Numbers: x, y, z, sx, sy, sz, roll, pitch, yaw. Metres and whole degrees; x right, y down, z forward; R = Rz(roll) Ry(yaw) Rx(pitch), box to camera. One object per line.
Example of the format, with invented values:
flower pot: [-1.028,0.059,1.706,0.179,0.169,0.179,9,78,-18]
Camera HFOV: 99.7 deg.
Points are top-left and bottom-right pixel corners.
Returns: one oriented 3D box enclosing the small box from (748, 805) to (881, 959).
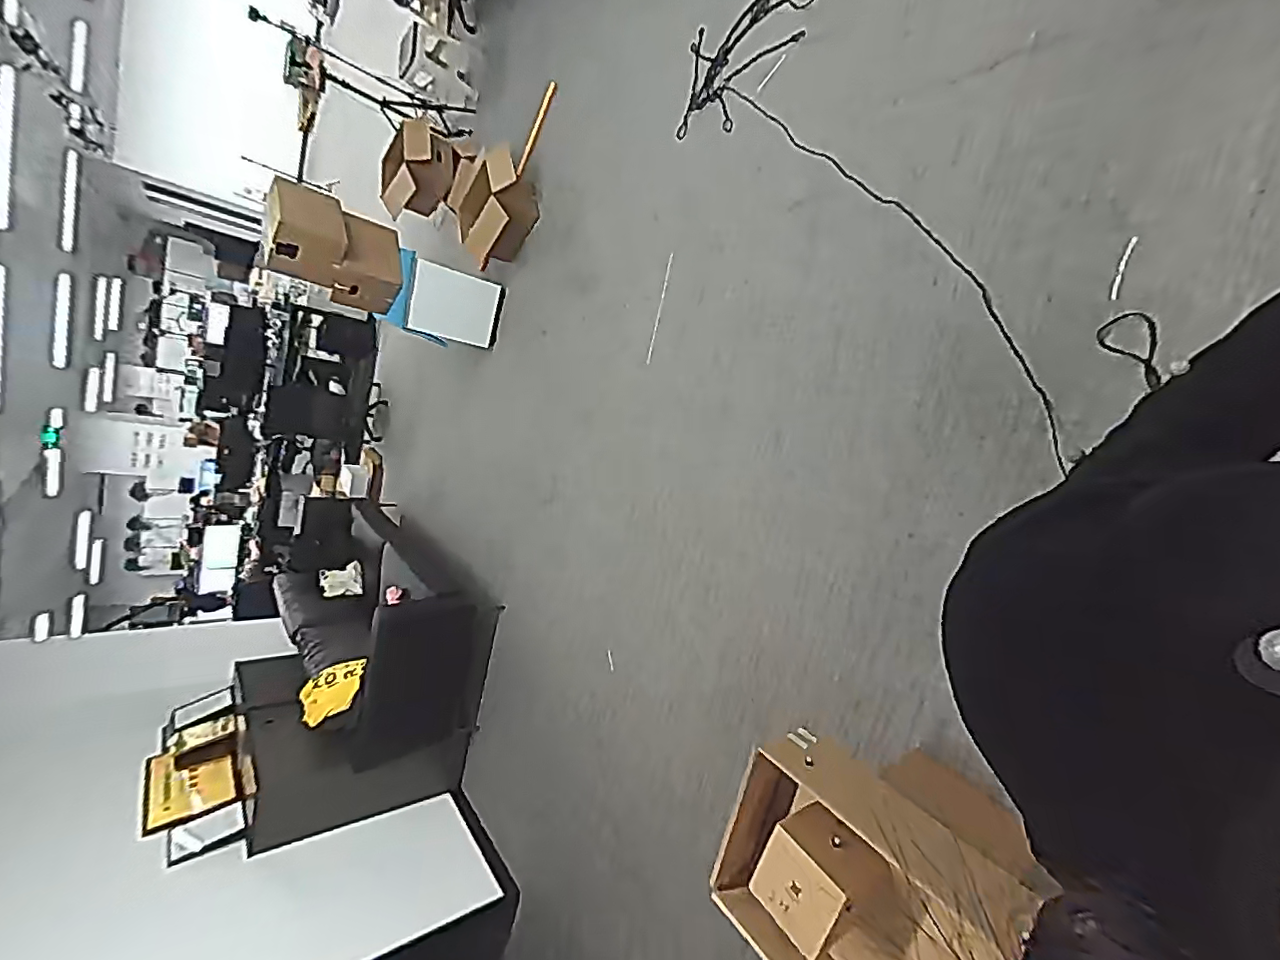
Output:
small box: [0.356,0.802,1.090,0.168,0.176,0.179,33,110,47]
